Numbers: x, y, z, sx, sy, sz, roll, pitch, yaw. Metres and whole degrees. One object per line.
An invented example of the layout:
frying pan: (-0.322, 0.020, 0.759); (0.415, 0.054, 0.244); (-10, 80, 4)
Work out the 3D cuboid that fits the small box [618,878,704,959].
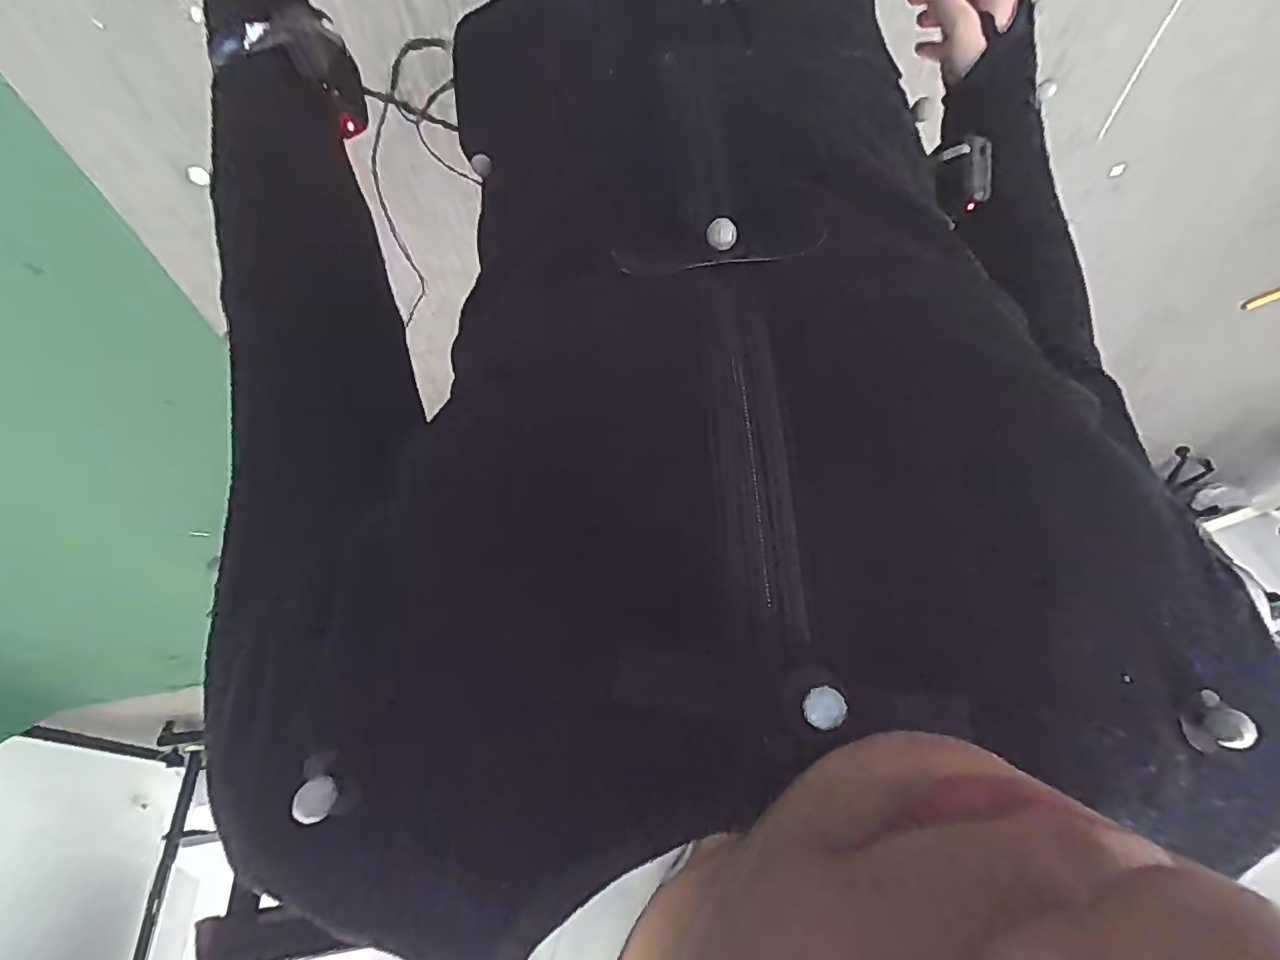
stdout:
small box: (0.046, 1.089, 1.321); (0.179, 0.176, 0.168); (-8, 145, -5)
